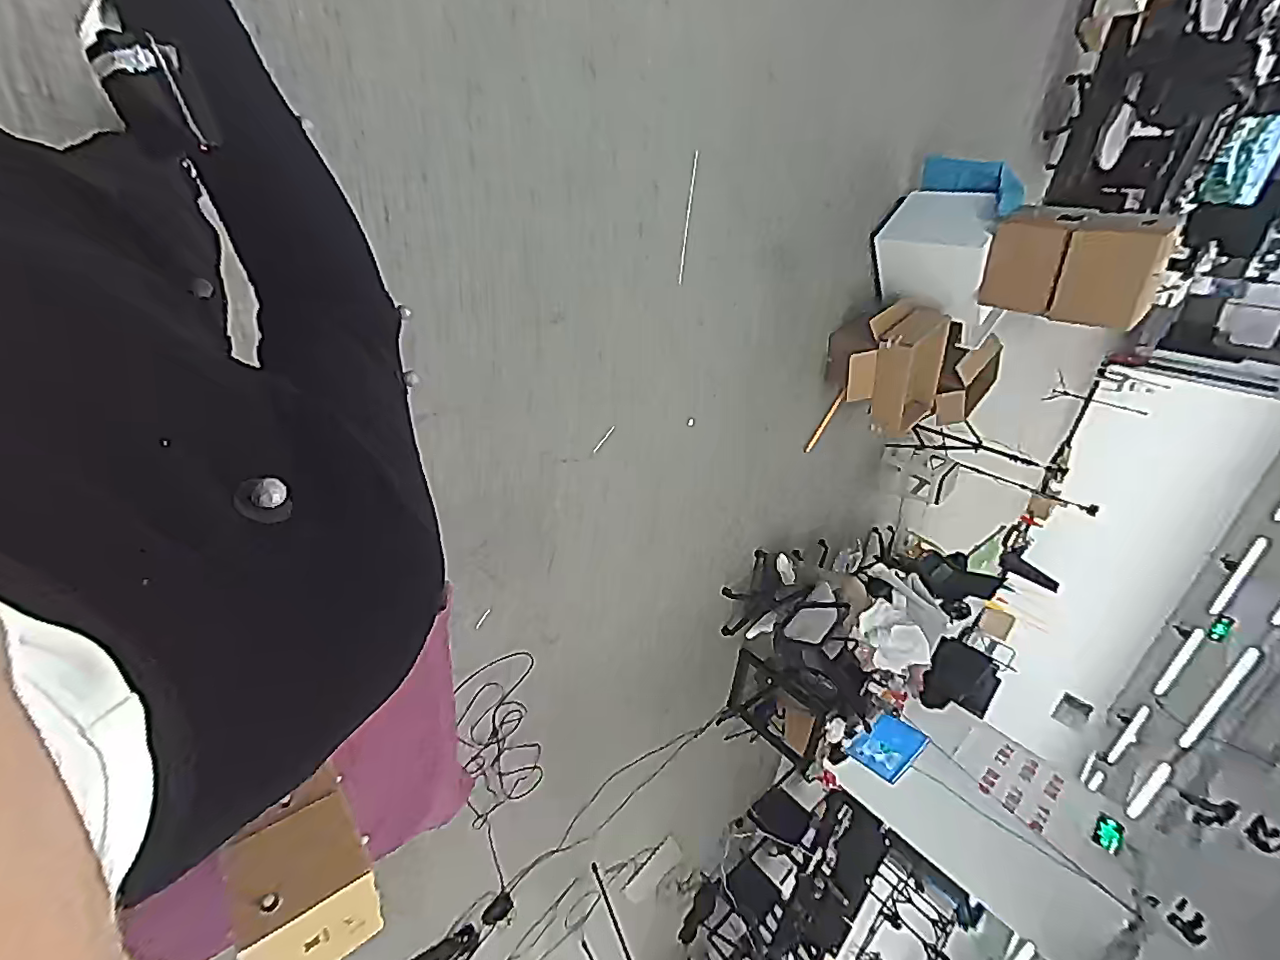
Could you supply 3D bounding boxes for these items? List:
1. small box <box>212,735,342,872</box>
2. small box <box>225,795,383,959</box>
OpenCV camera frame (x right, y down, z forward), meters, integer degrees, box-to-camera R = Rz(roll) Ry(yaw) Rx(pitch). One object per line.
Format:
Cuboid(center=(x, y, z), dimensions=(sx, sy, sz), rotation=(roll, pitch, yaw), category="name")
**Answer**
Cuboid(center=(-0.644, 0.608, 0.974), dimensions=(0.179, 0.176, 0.168), rotation=(-18, 124, -39), category="small box")
Cuboid(center=(-0.534, 0.657, 0.859), dimensions=(0.179, 0.176, 0.168), rotation=(-16, 123, -40), category="small box")
